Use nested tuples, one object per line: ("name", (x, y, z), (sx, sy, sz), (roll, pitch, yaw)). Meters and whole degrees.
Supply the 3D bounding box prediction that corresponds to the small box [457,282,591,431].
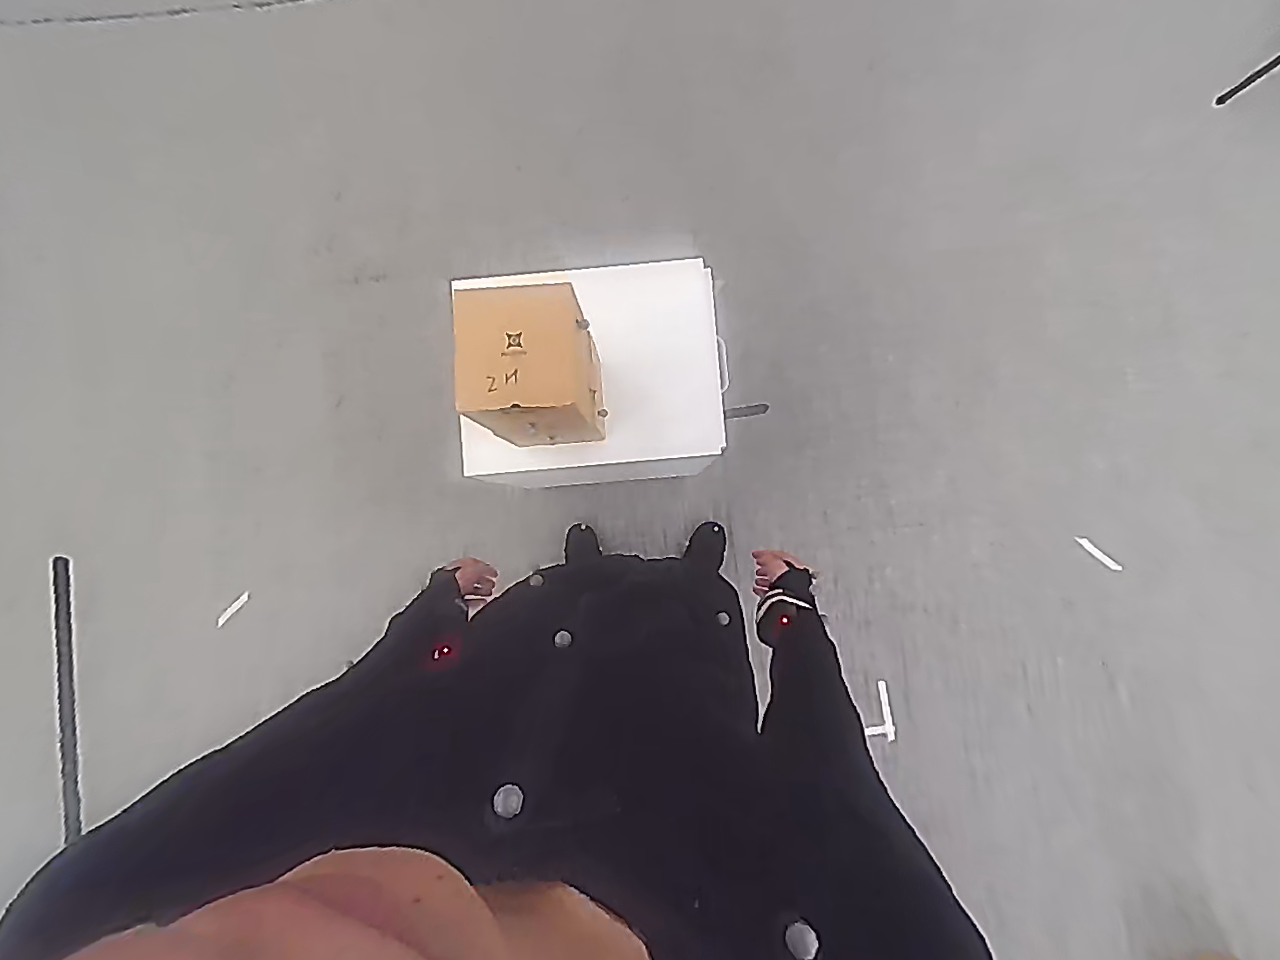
("small box", (-0.167, -0.177, 0.816), (0.168, 0.176, 0.179), (-3, 86, 2))
